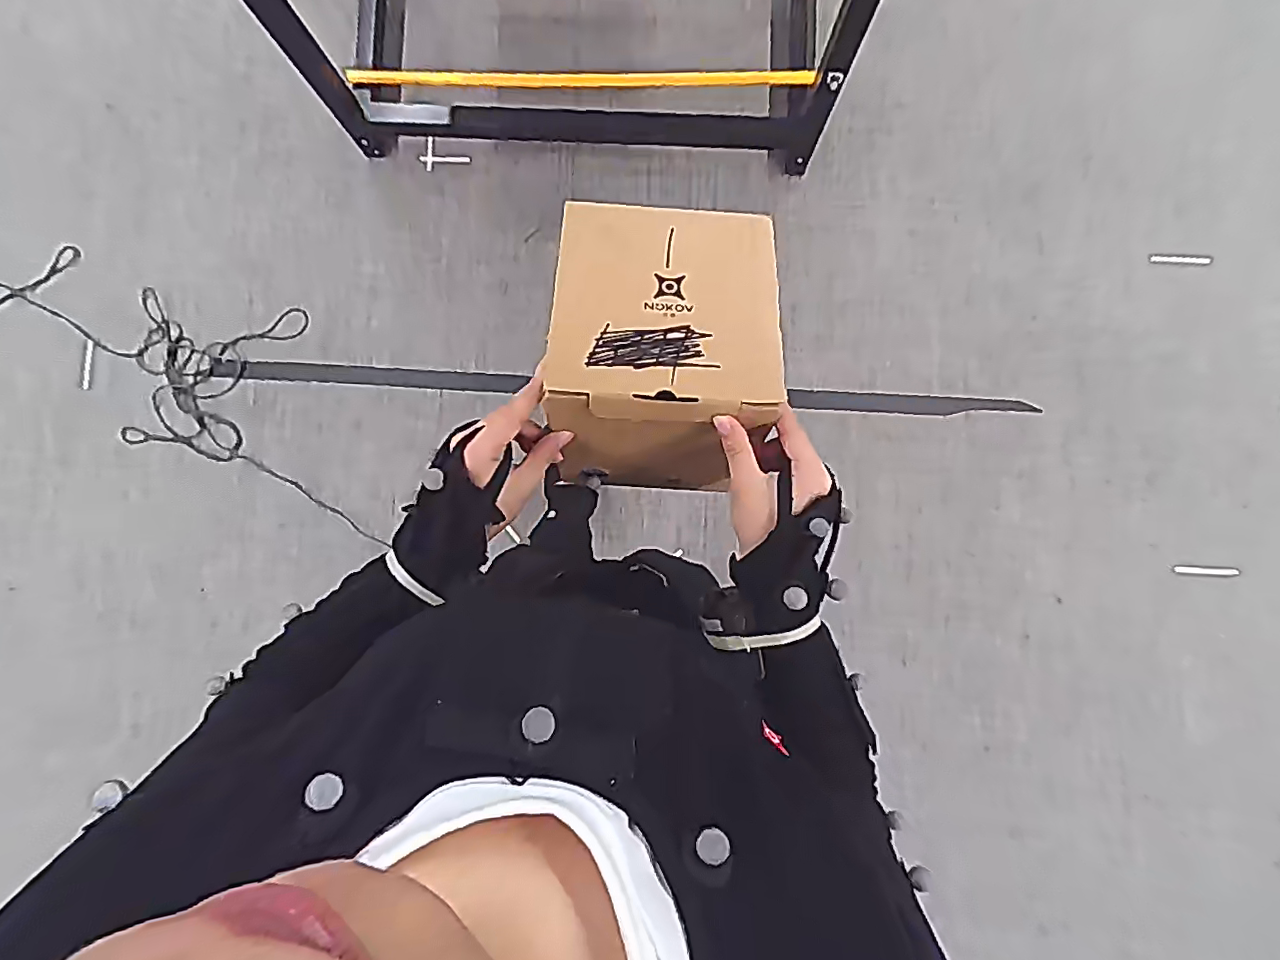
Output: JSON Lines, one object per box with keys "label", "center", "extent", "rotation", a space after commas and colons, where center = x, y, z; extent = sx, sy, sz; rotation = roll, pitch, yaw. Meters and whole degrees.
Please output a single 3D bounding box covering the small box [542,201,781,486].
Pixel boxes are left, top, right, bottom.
{"label": "small box", "center": [0.016, -0.104, 0.468], "extent": [0.168, 0.176, 0.179], "rotation": [4, 68, -2]}
